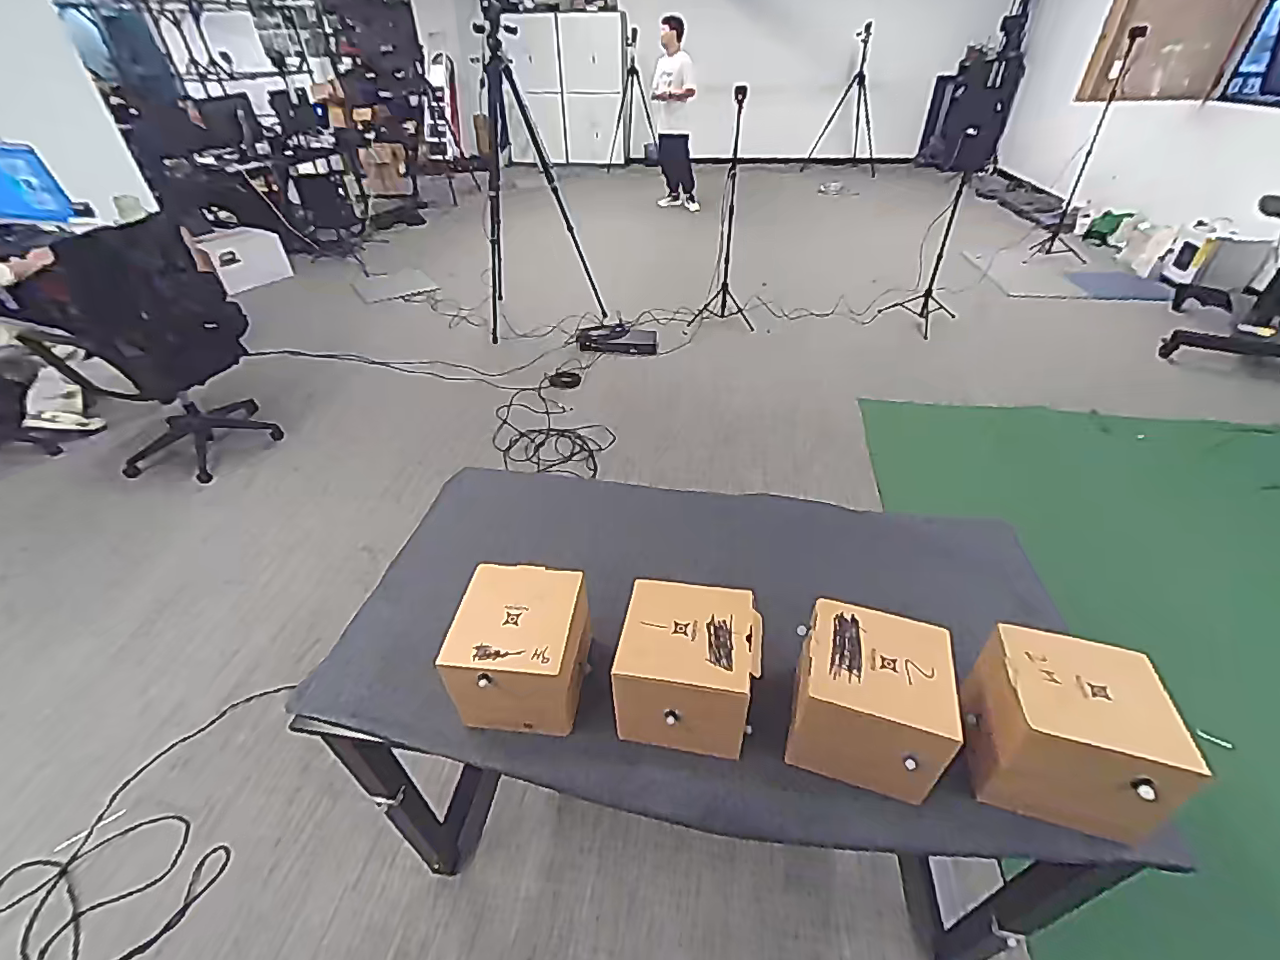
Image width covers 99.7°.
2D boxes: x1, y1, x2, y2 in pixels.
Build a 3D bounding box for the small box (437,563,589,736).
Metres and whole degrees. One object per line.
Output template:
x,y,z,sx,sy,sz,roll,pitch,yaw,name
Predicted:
-0.174,0.249,0.807,0.168,0.176,0.179,3,39,7,small box
